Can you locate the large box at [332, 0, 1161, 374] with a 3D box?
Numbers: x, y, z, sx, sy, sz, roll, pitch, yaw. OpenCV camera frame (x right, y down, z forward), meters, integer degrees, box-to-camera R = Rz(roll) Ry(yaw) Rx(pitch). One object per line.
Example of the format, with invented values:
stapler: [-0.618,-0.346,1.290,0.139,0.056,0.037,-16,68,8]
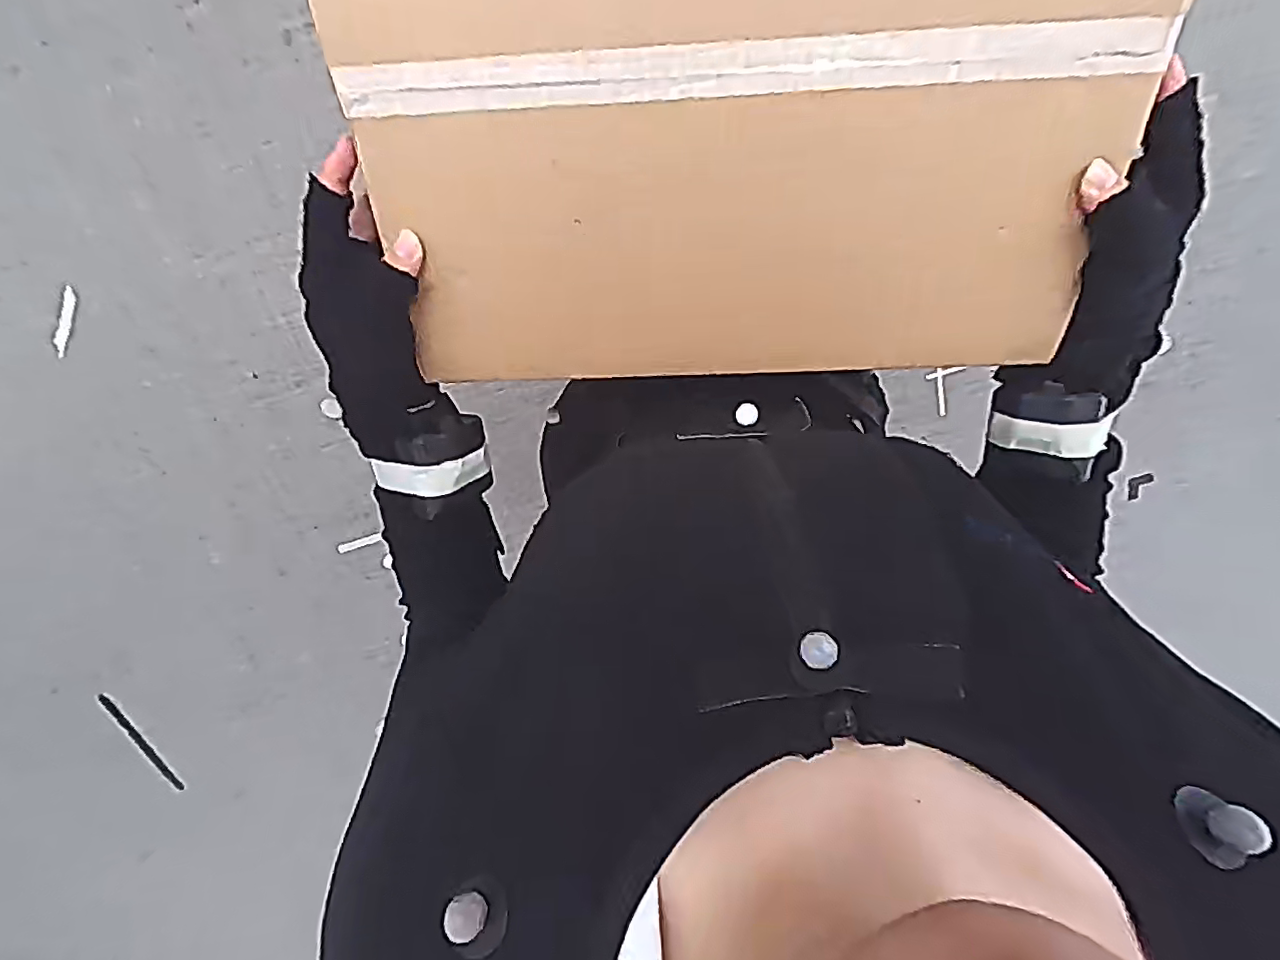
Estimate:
large box: [0.050,-0.287,0.400,0.408,0.320,0.320,-1,124,2]
